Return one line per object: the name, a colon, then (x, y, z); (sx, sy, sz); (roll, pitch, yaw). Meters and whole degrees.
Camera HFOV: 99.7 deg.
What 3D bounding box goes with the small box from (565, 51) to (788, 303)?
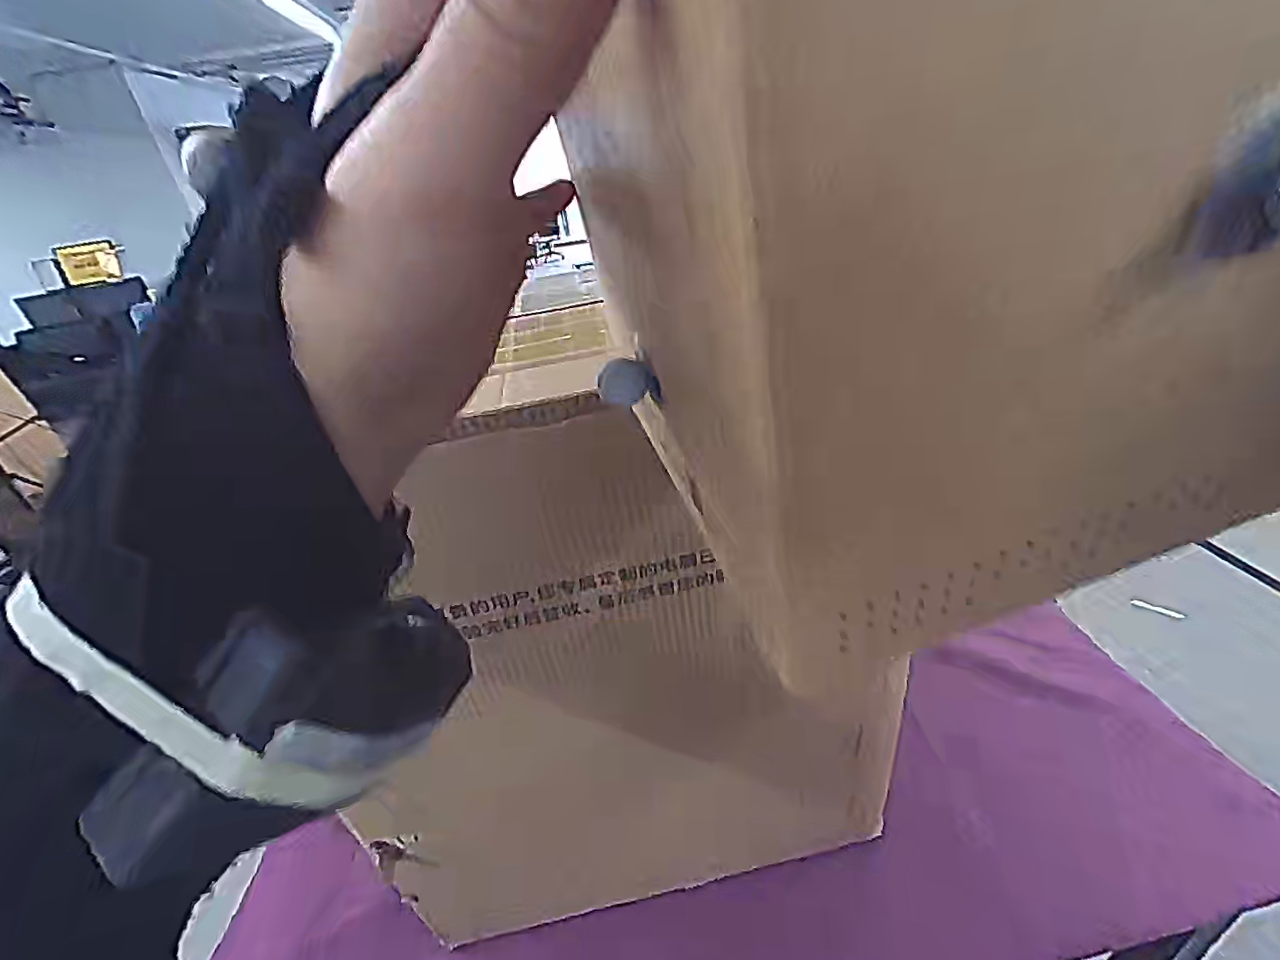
small box: (0.032, -0.279, 0.523); (0.179, 0.176, 0.168); (-12, 29, -3)
